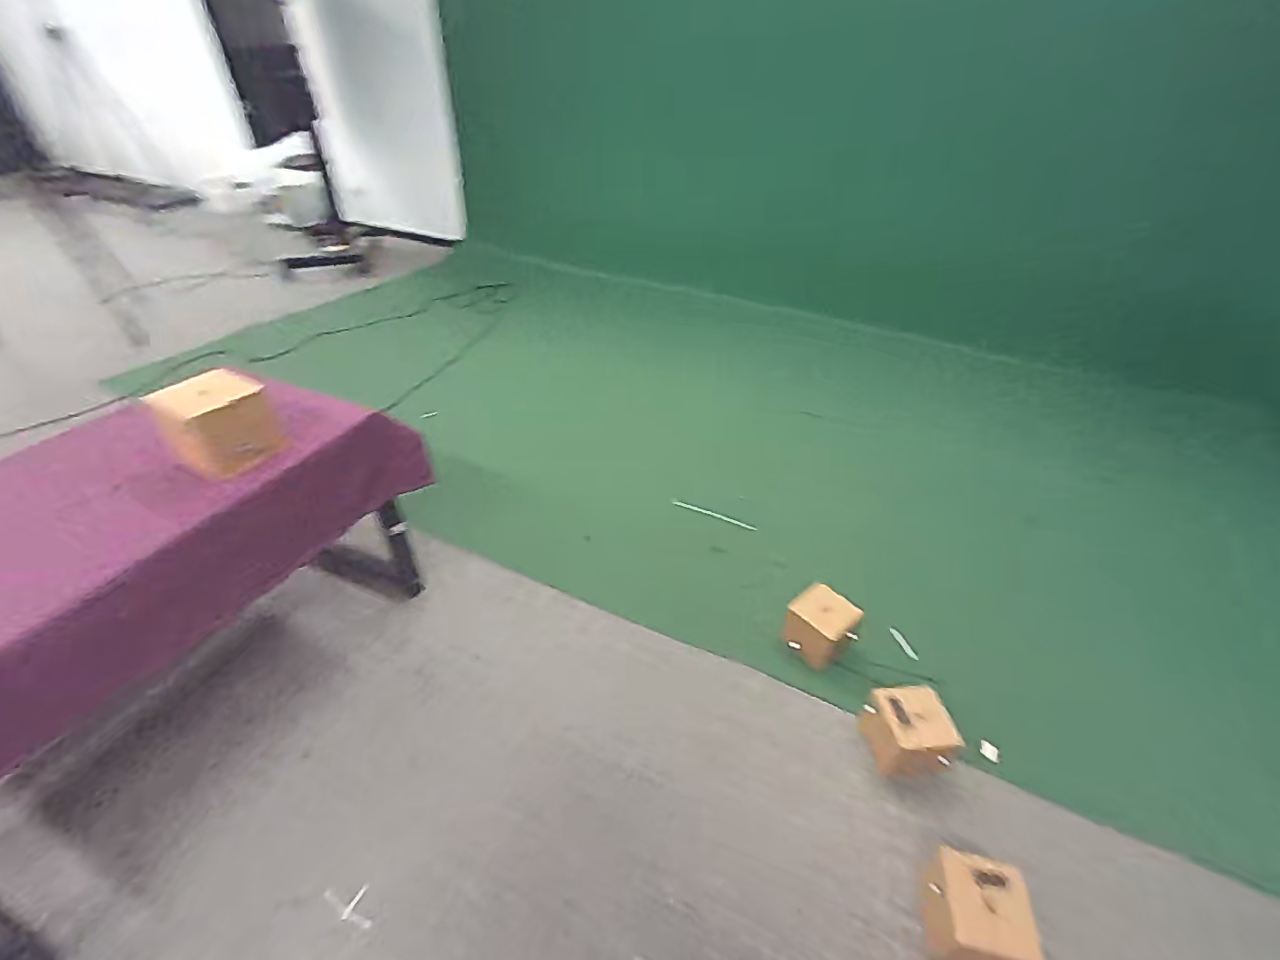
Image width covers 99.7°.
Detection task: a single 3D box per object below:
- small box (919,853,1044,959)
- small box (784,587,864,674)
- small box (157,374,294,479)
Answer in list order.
[{"bbox_3d":[0.725,0.955,1.169,0.168,0.176,0.179,11,39,10],"label":"small box"},{"bbox_3d":[0.593,0.492,1.766,0.179,0.176,0.168,-25,45,-32],"label":"small box"},{"bbox_3d":[-0.966,-0.125,1.273,0.179,0.176,0.168,20,41,20],"label":"small box"}]
